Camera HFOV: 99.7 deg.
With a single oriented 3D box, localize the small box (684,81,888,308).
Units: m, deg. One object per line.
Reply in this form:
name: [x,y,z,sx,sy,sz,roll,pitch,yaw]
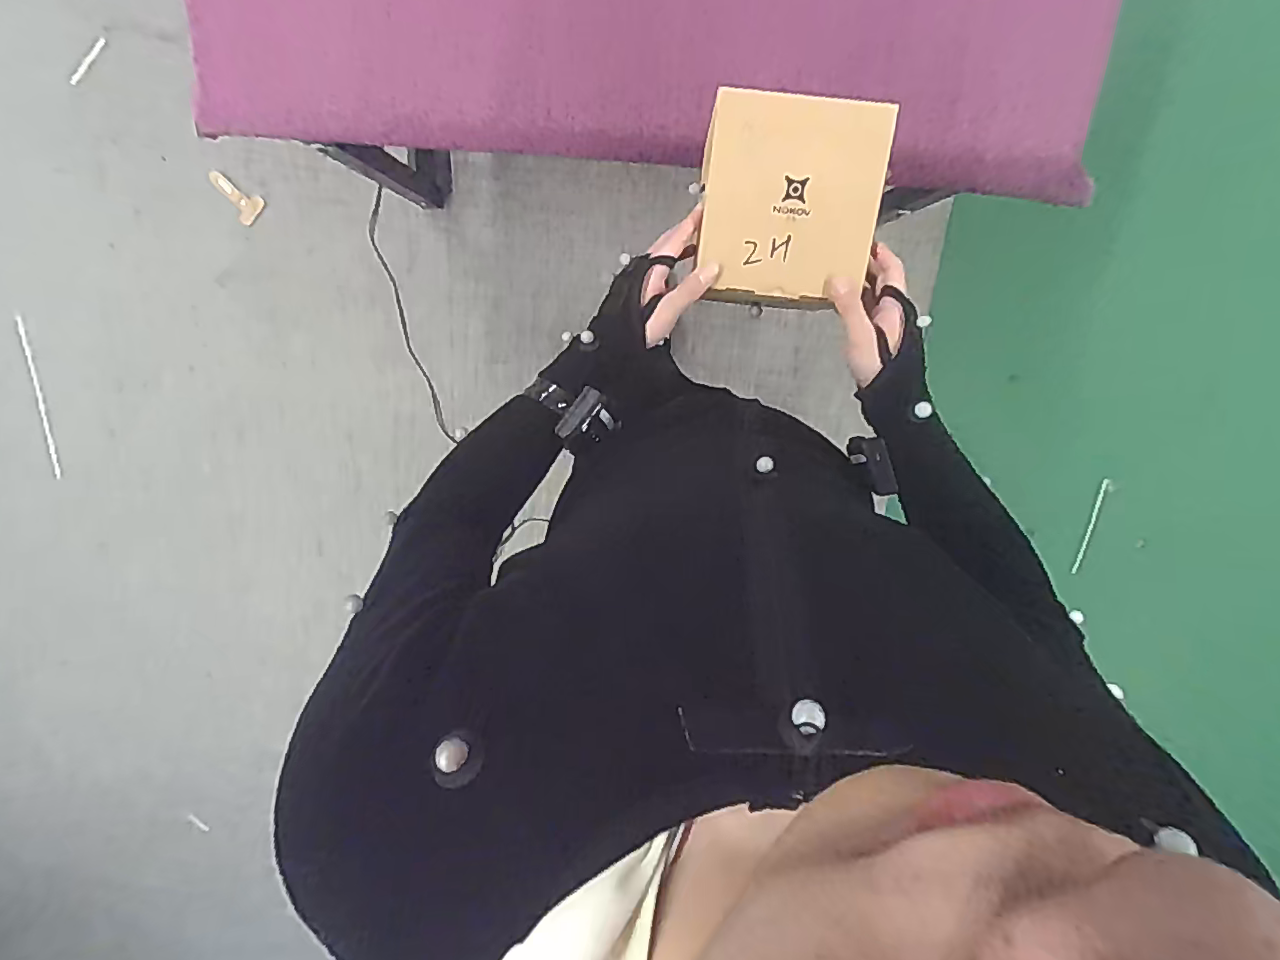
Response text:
small box: [0.140,-0.291,0.591,0.168,0.176,0.179,7,105,2]
